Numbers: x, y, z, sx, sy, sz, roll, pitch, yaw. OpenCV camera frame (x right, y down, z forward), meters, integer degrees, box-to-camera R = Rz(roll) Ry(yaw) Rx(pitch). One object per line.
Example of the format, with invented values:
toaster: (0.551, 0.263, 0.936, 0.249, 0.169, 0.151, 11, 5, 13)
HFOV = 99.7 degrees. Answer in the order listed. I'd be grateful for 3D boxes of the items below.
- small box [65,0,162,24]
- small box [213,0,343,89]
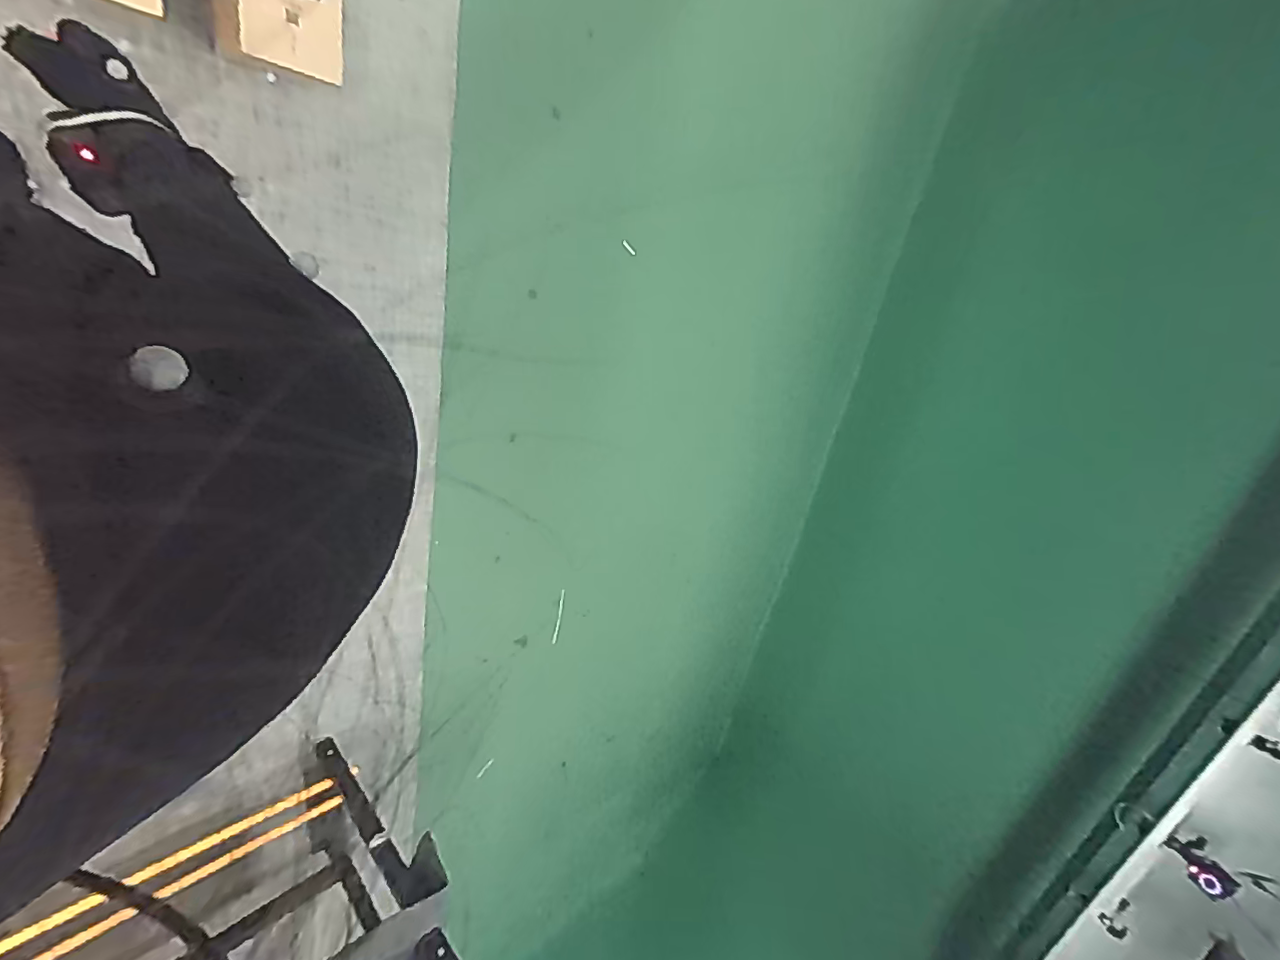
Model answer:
small box: (-0.847, -0.821, 0.808, 0.168, 0.176, 0.179, -15, 124, -47)
small box: (-0.672, -0.856, 1.002, 0.168, 0.176, 0.179, -14, 124, -47)
